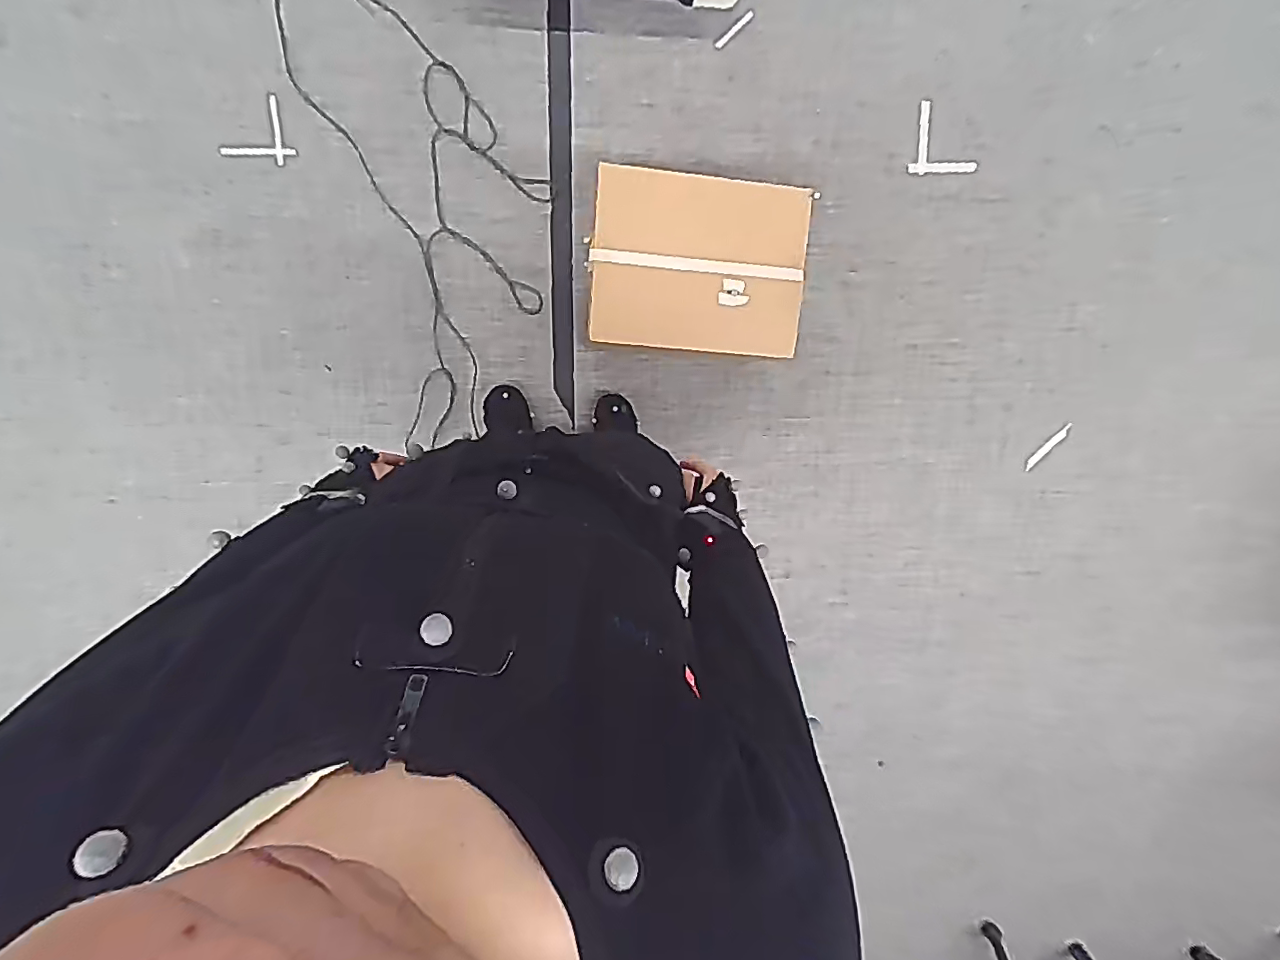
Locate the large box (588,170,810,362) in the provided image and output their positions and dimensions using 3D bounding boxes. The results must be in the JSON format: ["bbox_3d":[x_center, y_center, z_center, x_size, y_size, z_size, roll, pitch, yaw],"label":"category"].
[{"bbox_3d":[0.096,-0.425,1.160,0.408,0.320,0.320,3,101,-7],"label":"large box"}]
